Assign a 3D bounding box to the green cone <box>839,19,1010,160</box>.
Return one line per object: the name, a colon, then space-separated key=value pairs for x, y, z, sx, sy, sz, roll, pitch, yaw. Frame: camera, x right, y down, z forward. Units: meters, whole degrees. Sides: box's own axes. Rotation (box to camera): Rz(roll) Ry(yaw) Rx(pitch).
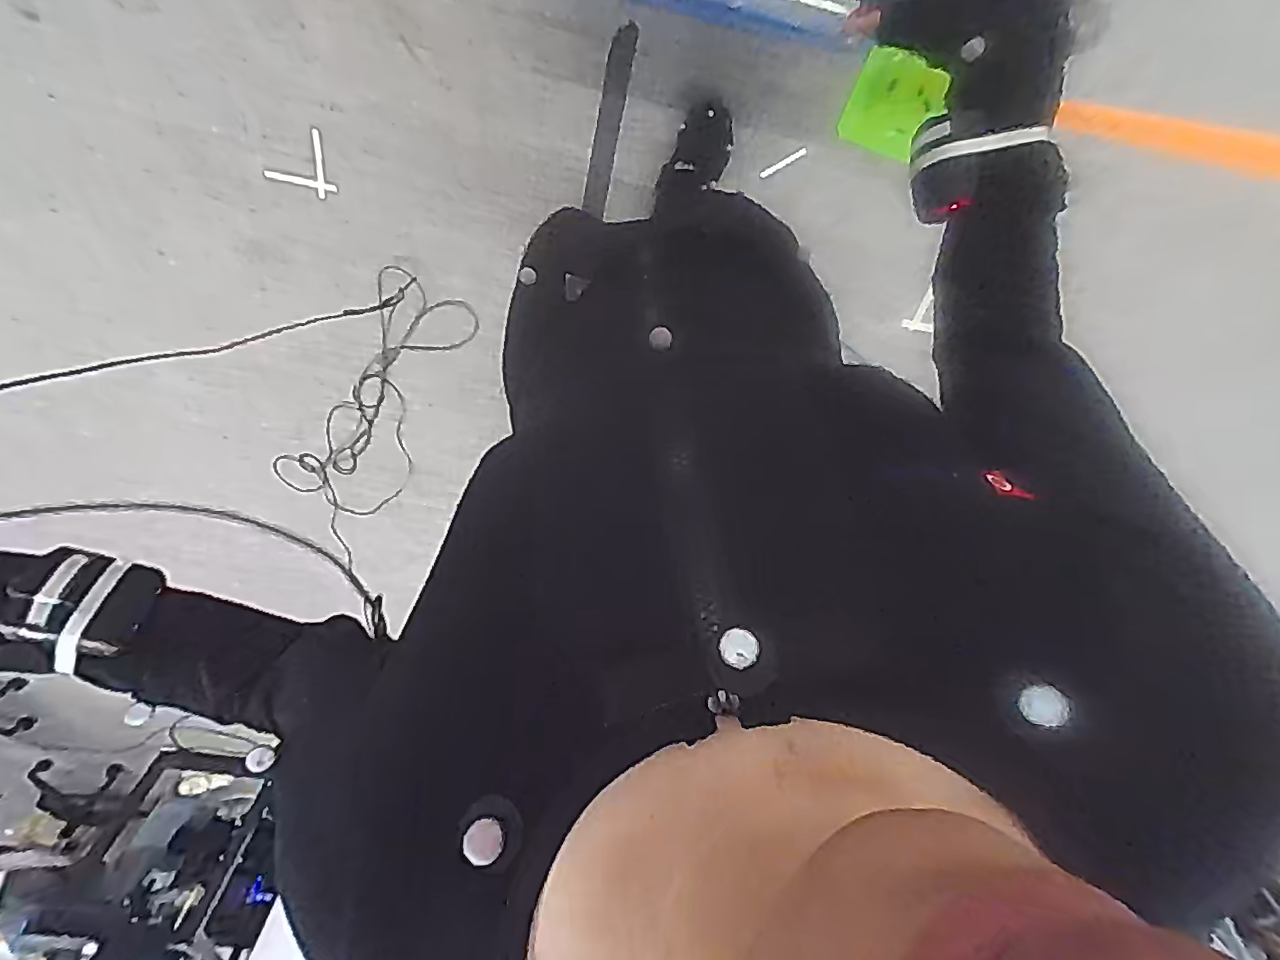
green cone: x=0.539 y=-0.693 z=0.973 sx=0.202 sy=0.368 sz=0.200 roll=13 pitch=125 yaw=-11
